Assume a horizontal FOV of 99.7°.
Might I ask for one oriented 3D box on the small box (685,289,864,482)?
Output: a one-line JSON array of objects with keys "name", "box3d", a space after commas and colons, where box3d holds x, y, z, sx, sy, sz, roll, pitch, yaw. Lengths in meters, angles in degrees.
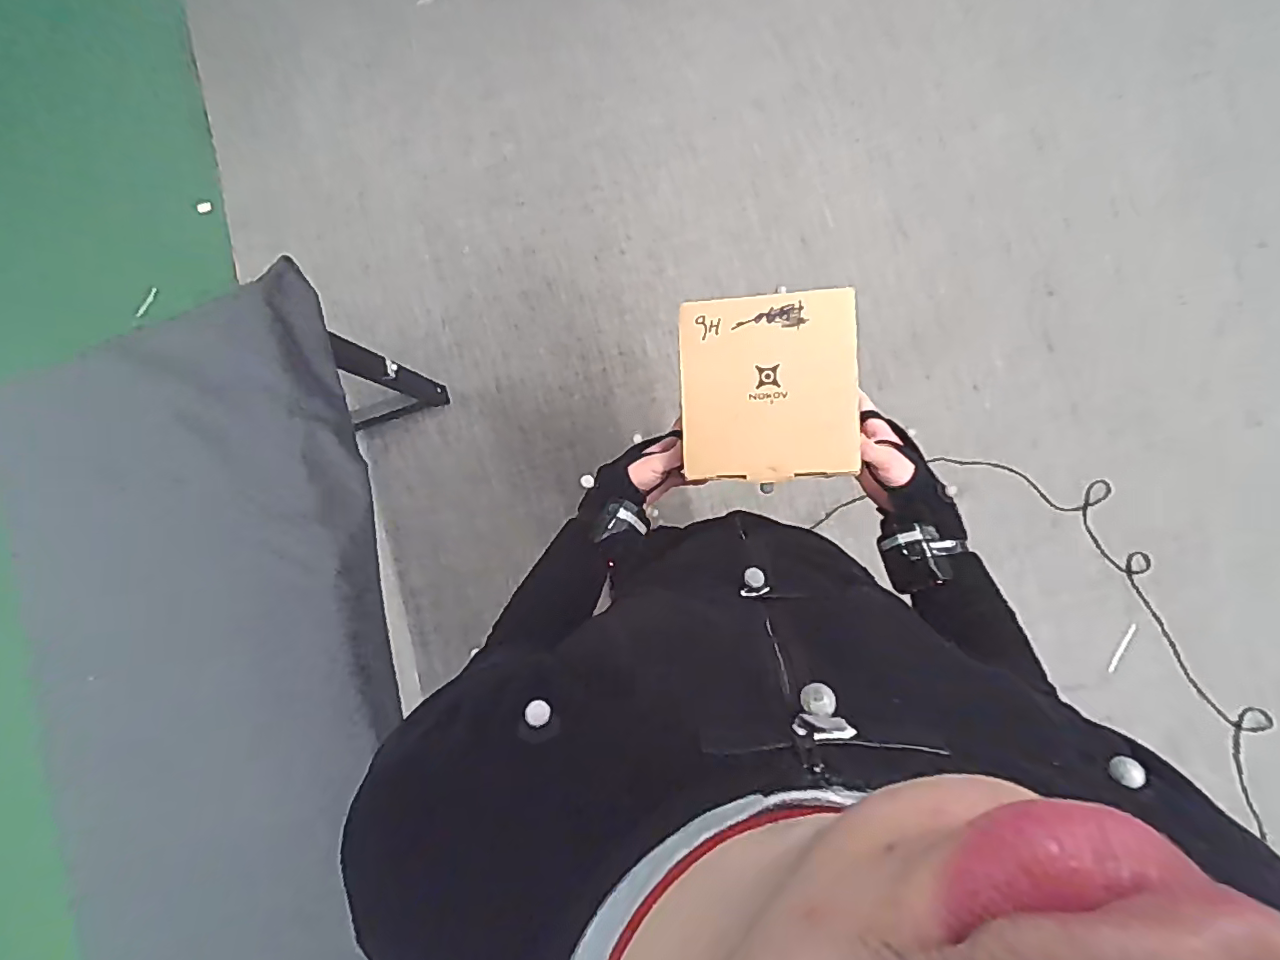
[{"name": "small box", "box3d": [0.140, -0.089, 0.590, 0.168, 0.176, 0.179, -2, 90, 10]}]
